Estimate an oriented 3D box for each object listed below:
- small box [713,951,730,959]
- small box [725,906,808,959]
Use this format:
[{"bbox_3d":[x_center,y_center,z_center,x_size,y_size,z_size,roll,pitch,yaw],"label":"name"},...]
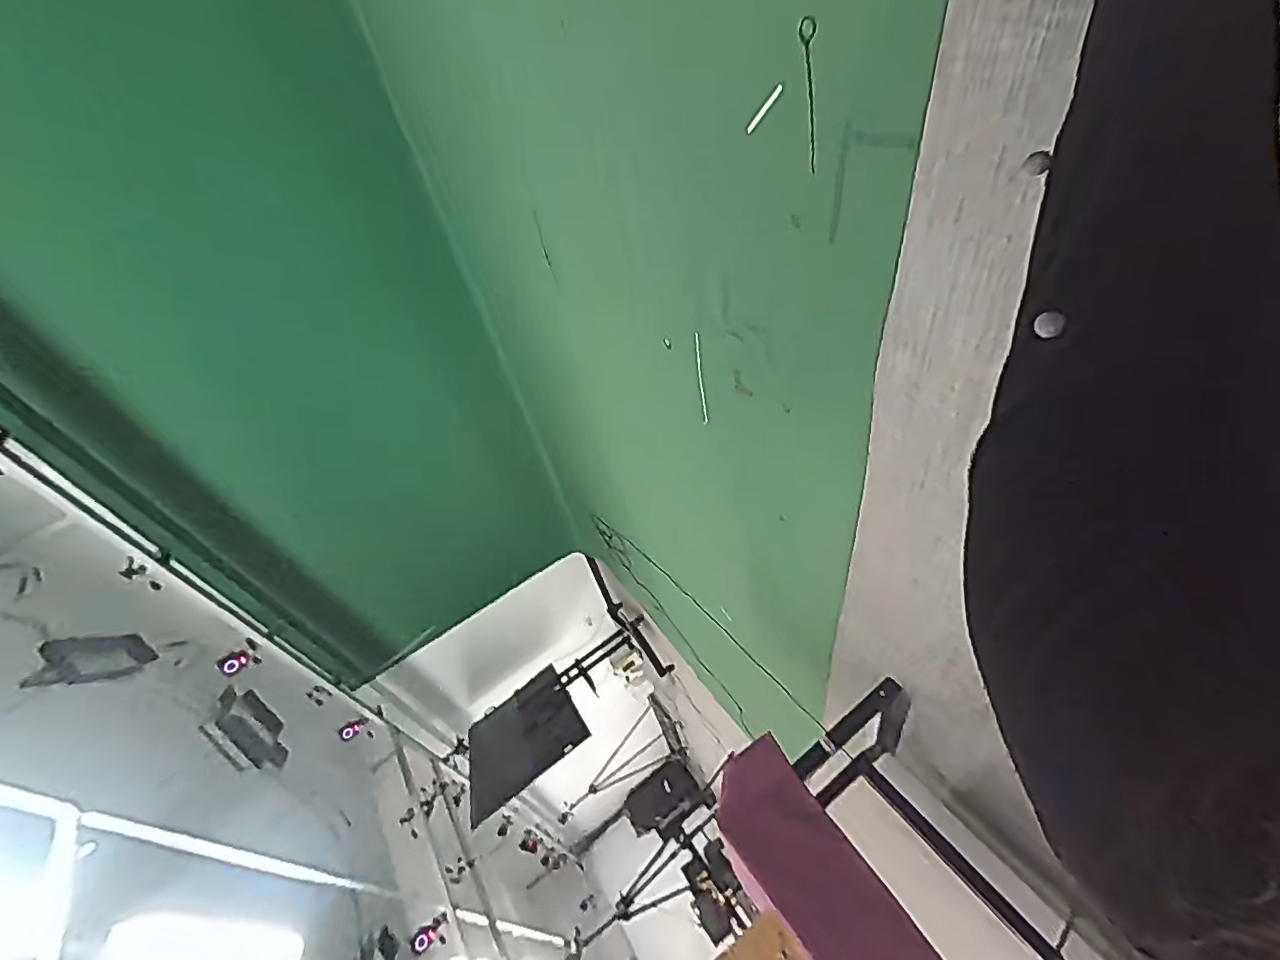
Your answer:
[{"bbox_3d":[0.214,1.382,1.415,0.168,0.176,0.179,44,158,40],"label":"small box"},{"bbox_3d":[0.349,1.300,1.463,0.168,0.176,0.179,44,158,38],"label":"small box"}]
